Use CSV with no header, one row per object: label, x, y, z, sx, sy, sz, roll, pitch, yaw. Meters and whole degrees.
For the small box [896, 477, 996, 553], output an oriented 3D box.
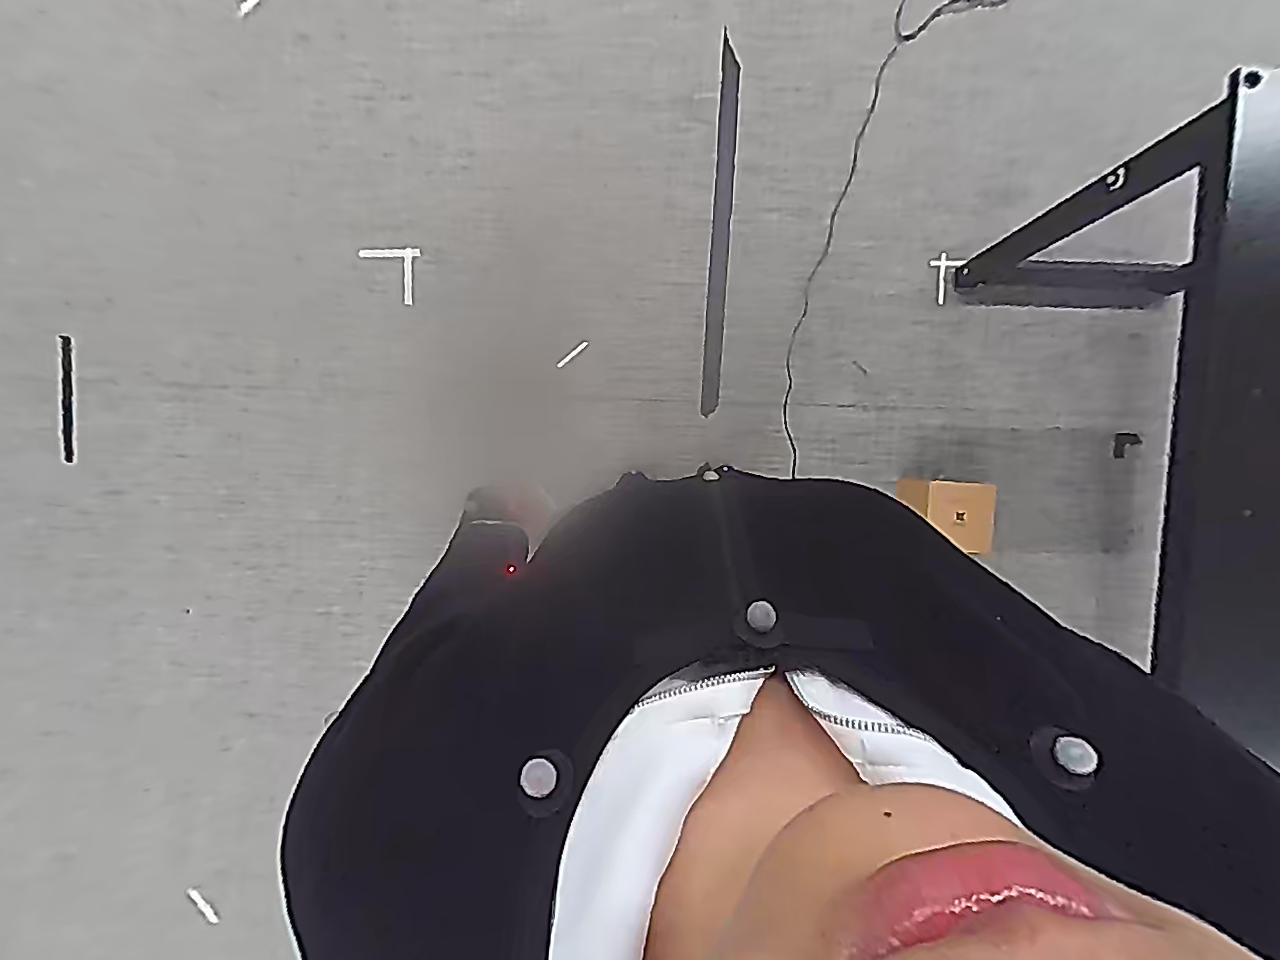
small box,0.782,0.086,1.399,0.168,0.176,0.179,2,91,1
